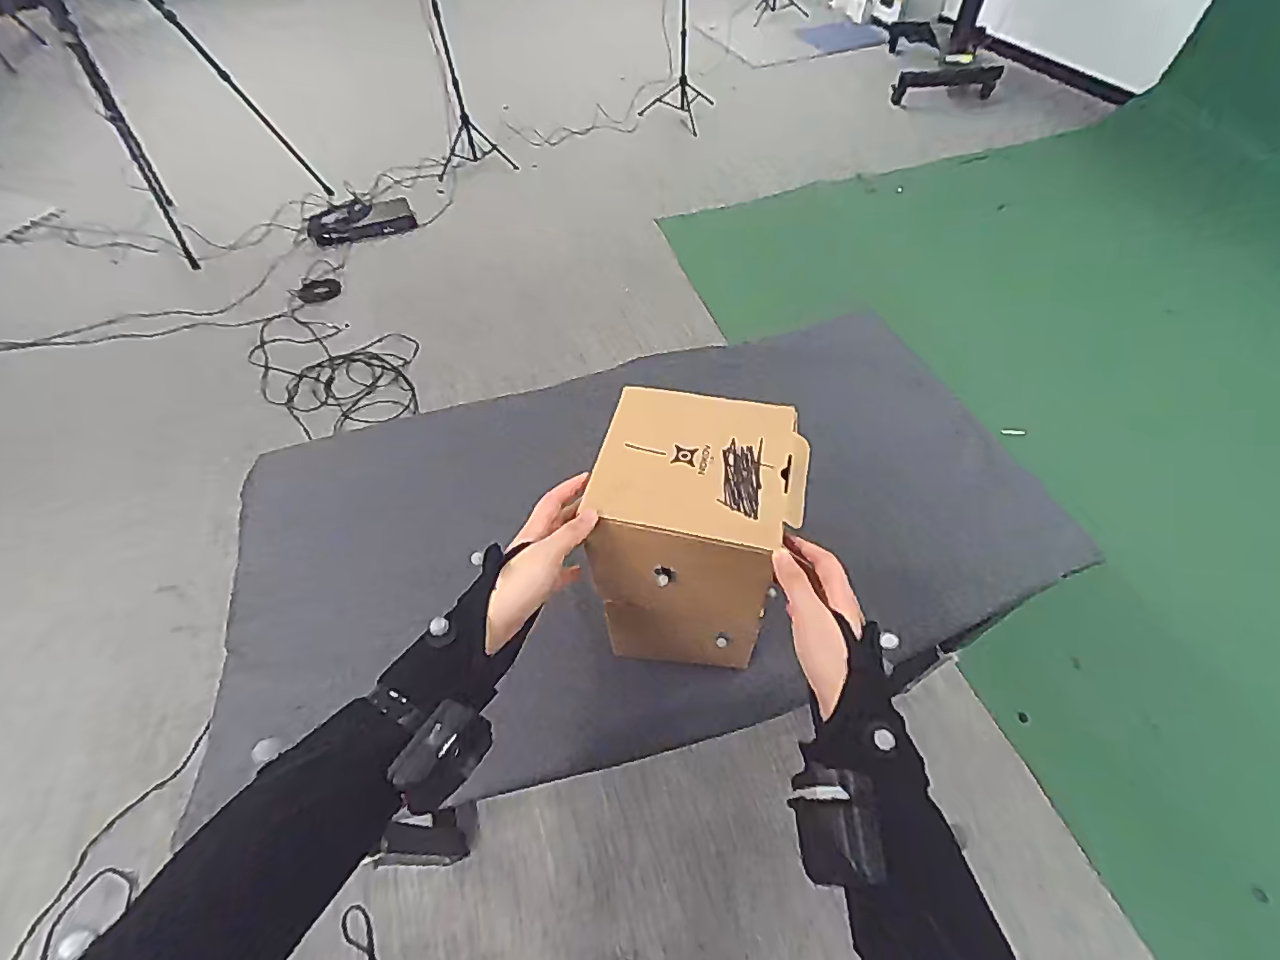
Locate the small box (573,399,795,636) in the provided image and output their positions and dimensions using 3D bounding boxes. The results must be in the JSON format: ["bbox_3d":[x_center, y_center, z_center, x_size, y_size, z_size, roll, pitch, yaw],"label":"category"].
[{"bbox_3d":[0.050,0.043,0.555,0.179,0.176,0.168,10,53,11],"label":"small box"}]
